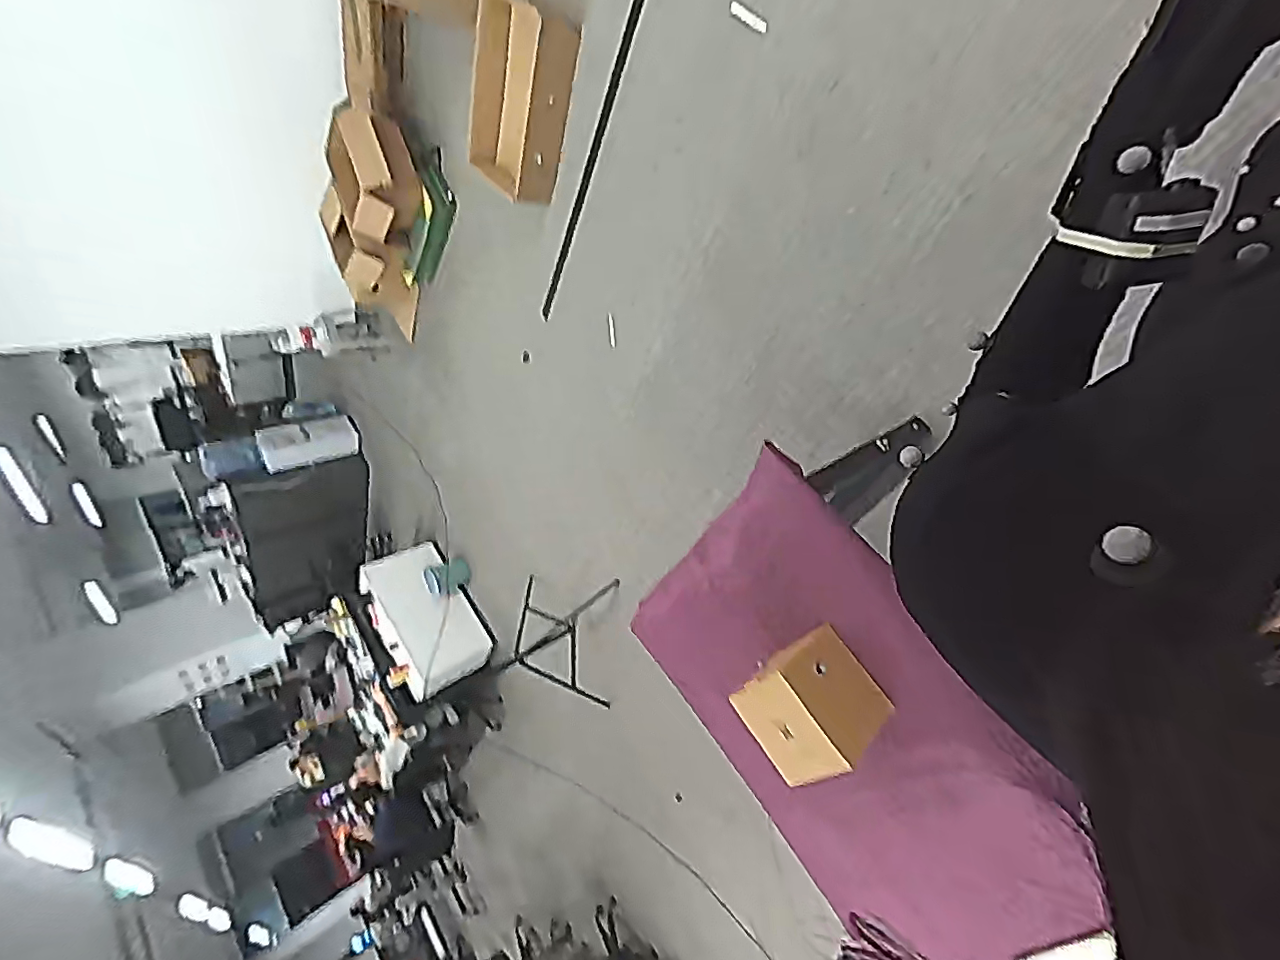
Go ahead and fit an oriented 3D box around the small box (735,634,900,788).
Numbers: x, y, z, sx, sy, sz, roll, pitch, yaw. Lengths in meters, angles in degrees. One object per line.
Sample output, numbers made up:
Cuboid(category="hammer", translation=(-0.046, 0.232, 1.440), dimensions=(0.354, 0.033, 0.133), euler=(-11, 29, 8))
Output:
Cuboid(category="small box", translation=(0.309, 0.394, 0.947), dimensions=(0.179, 0.176, 0.168), euler=(52, 140, 17))
